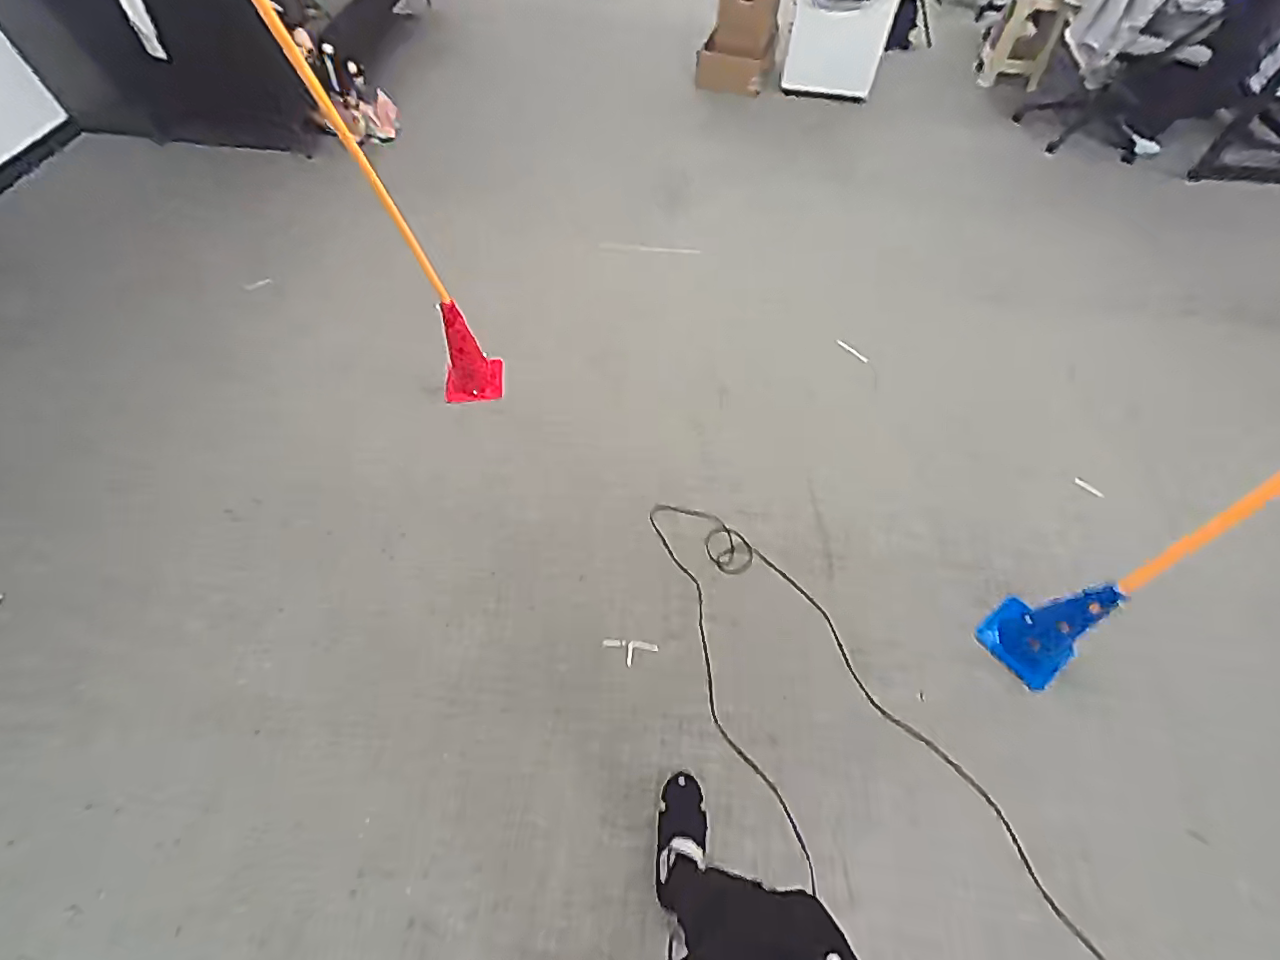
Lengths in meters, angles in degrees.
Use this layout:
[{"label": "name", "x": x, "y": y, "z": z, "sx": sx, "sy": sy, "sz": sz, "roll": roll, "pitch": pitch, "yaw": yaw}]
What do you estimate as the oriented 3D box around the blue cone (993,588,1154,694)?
[{"label": "blue cone", "x": 1.056, "y": 0.345, "z": 1.298, "sx": 0.193, "sy": 0.380, "sz": 0.192, "roll": -32, "pitch": 62, "yaw": -22}]
